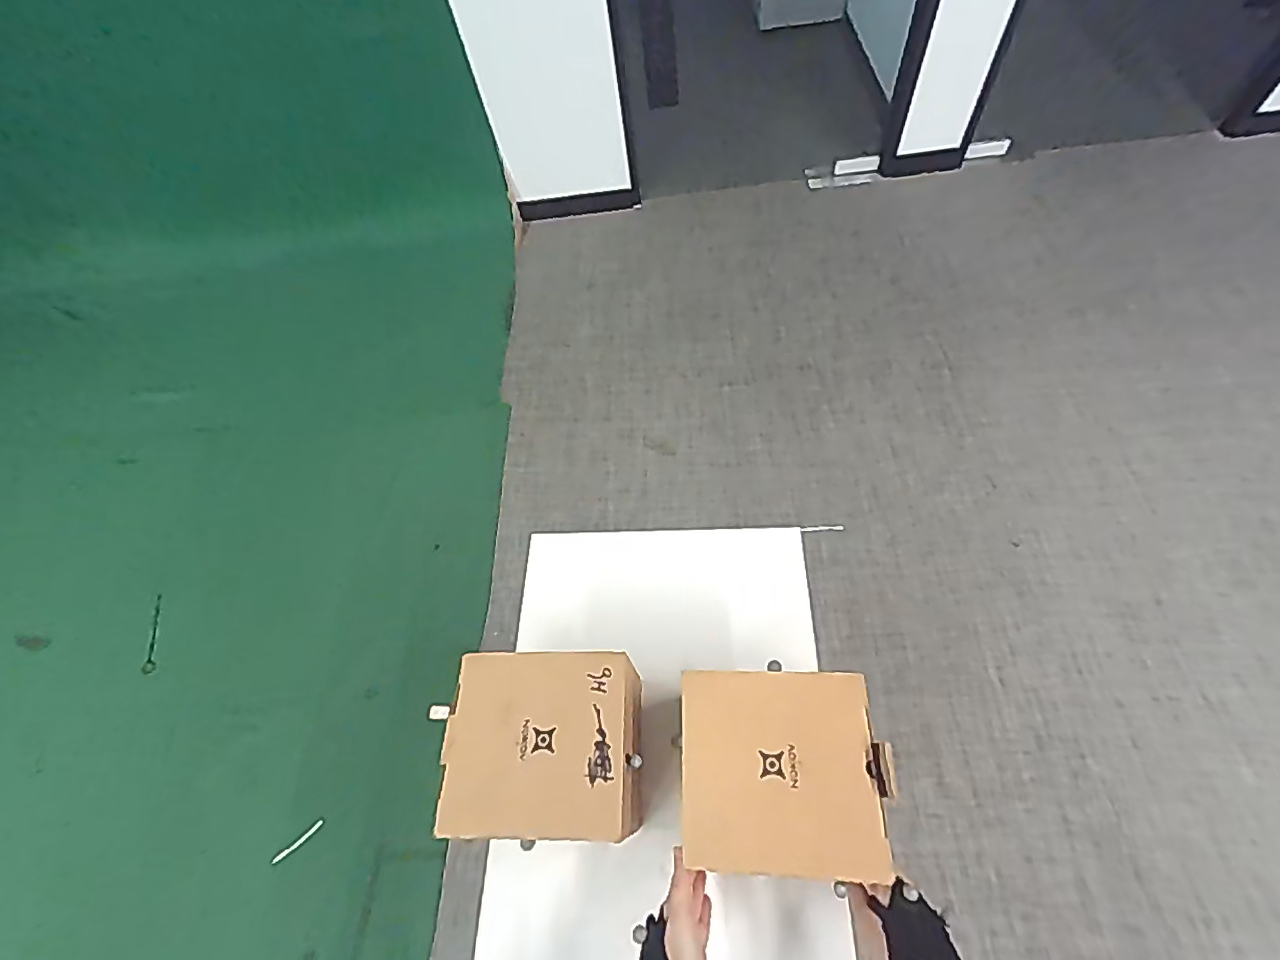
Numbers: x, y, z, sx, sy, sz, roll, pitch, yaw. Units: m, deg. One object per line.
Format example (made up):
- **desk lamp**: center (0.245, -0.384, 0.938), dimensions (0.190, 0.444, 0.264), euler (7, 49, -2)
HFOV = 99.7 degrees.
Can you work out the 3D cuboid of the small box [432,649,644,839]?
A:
- **small box**: center (-0.094, 0.287, 0.591), dimensions (0.179, 0.176, 0.168), euler (-2, 61, 6)
